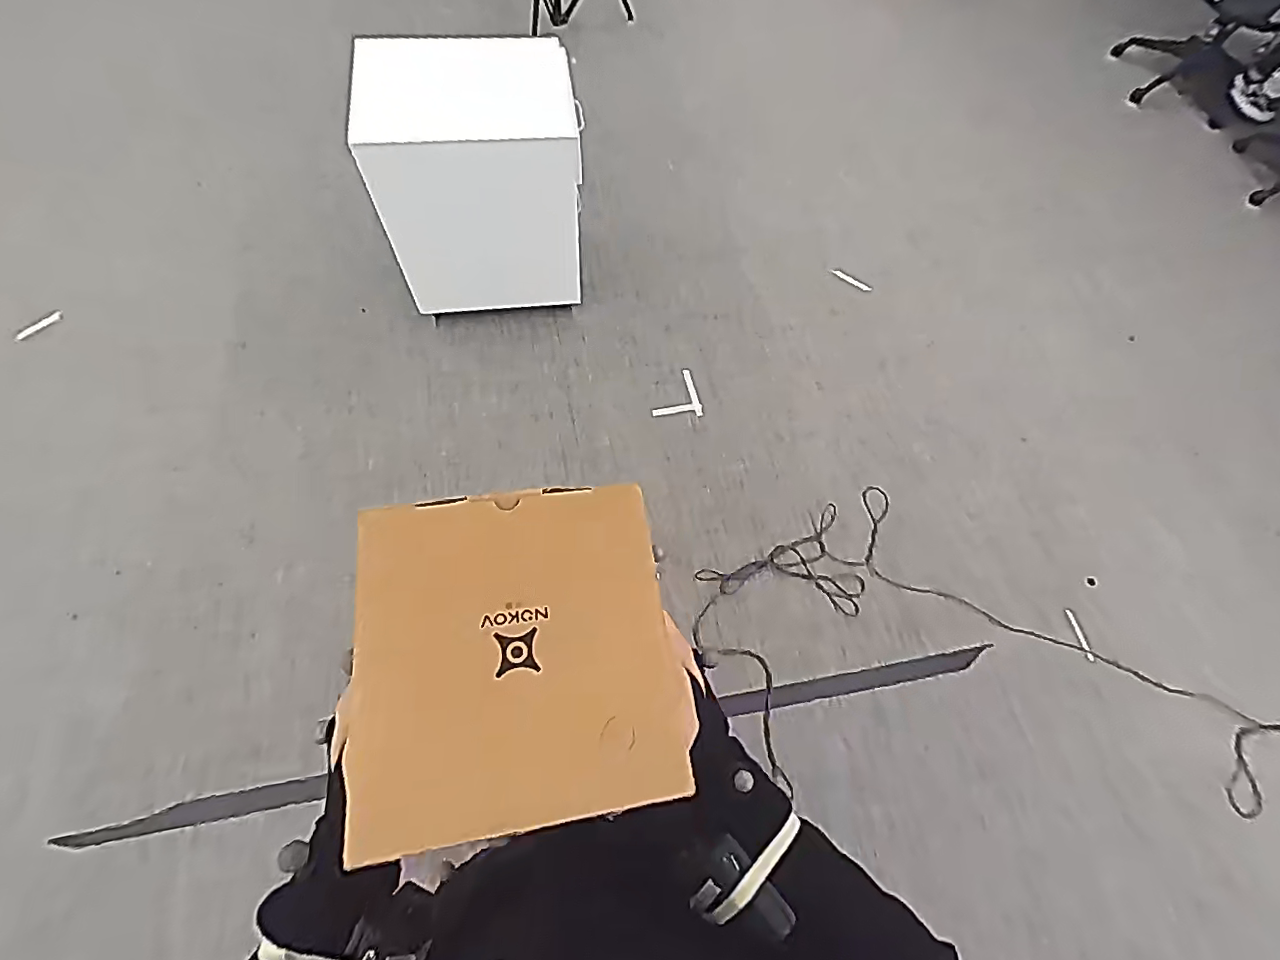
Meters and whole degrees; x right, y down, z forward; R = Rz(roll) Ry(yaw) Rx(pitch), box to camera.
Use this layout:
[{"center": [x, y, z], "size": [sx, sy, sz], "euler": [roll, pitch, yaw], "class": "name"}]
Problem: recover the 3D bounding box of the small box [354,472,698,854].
[{"center": [-0.072, 0.114, 0.360], "size": [0.168, 0.176, 0.179], "euler": [-6, 66, -11], "class": "small box"}]
